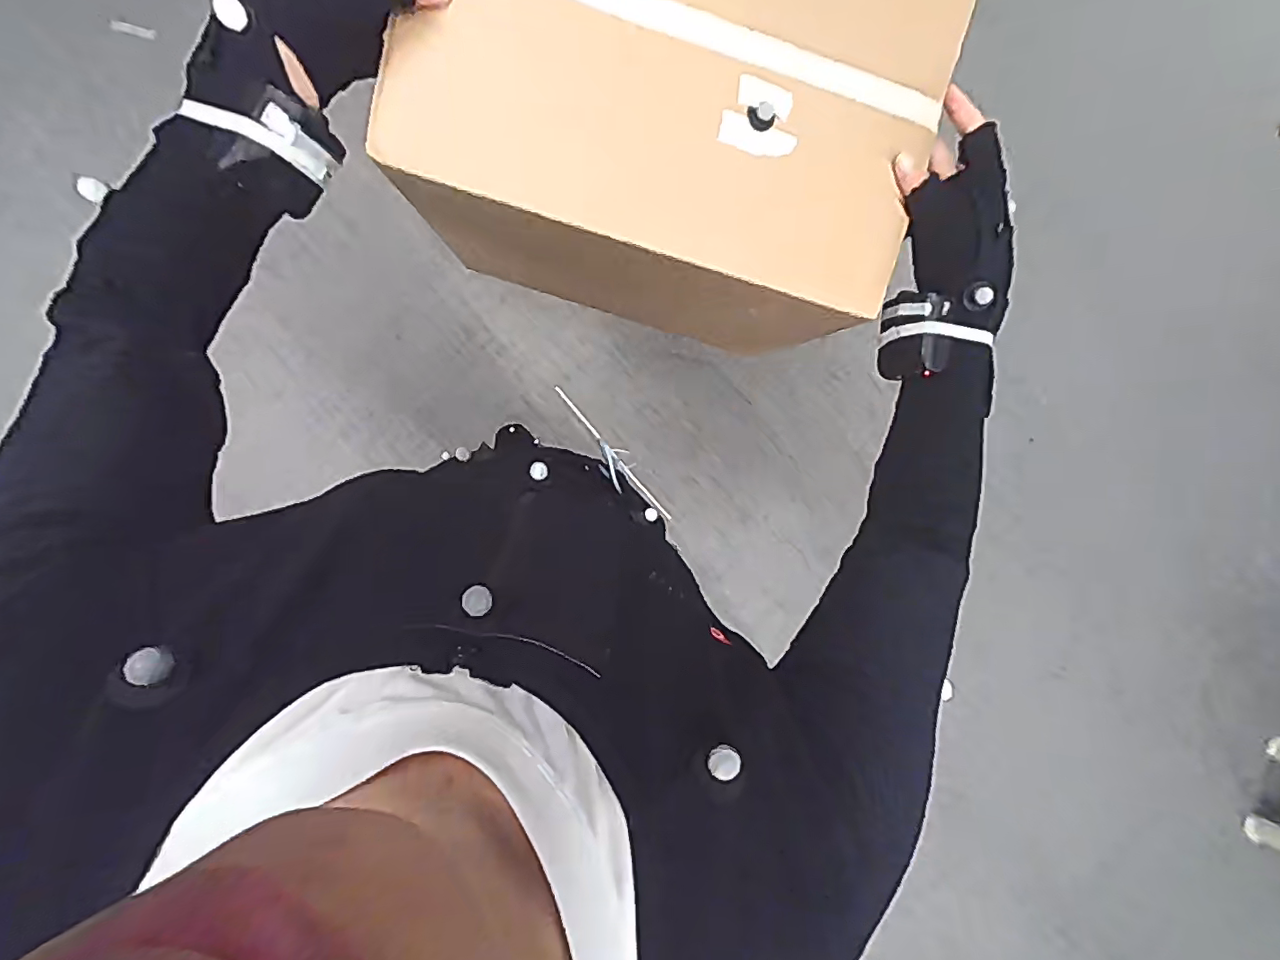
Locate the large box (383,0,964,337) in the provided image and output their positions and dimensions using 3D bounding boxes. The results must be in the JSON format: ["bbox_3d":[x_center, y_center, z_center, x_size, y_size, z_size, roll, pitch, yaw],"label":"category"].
[{"bbox_3d":[0.022,-0.362,0.545,0.408,0.320,0.320,14,97,-8],"label":"large box"}]
